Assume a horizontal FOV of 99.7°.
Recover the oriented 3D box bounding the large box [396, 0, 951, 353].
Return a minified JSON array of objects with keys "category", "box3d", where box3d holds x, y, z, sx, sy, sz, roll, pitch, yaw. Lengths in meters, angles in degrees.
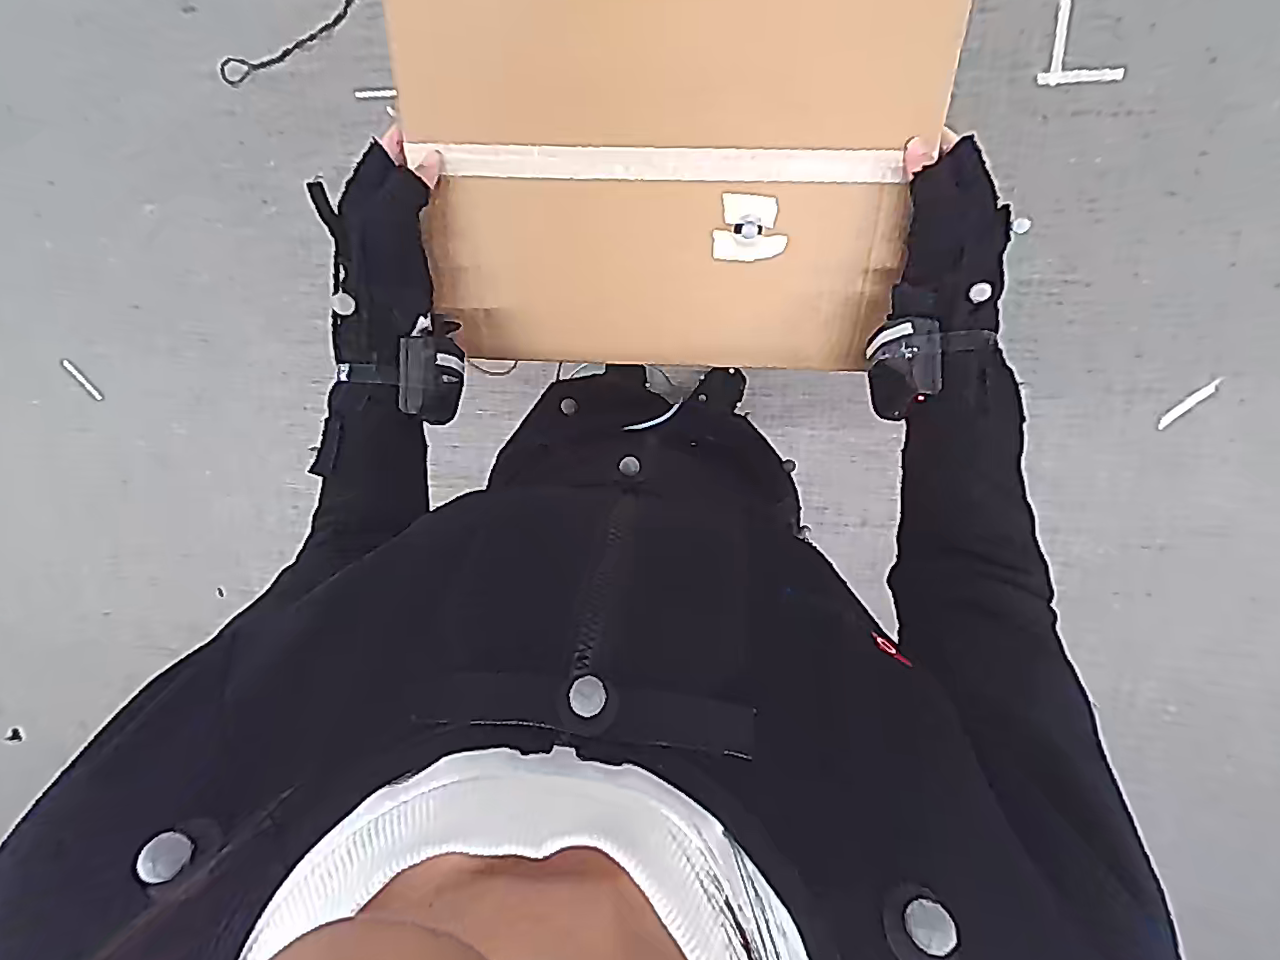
[{"category":"large box","box3d":[0.024,-0.319,0.560,0.408,0.320,0.320,1,116,1]}]
